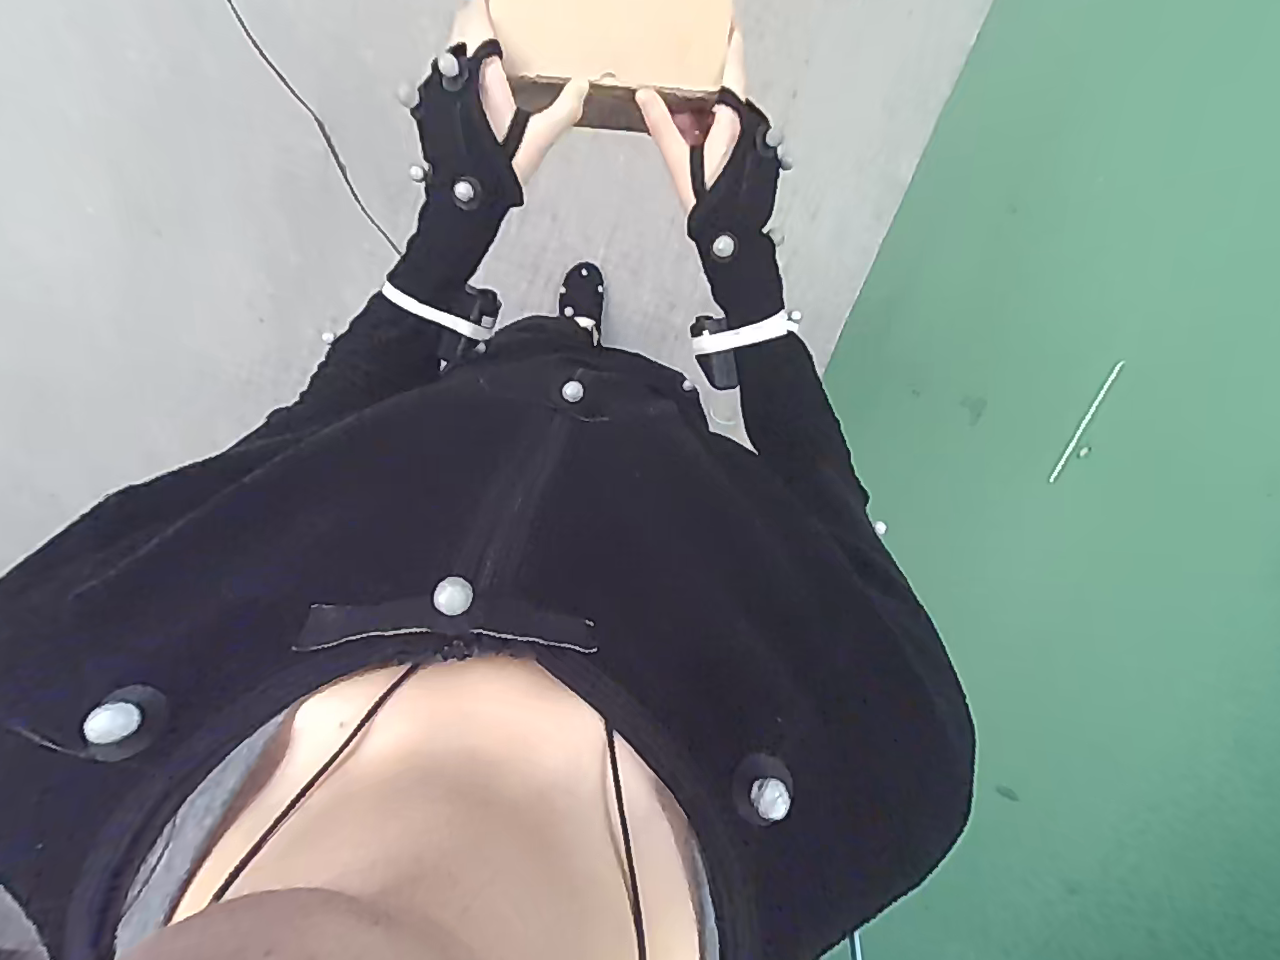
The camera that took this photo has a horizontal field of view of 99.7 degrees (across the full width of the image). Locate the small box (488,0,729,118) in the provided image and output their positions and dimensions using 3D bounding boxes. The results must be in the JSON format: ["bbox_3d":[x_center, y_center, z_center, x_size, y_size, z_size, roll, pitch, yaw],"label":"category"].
[{"bbox_3d":[-0.019,-0.402,0.418,0.168,0.176,0.179,3,113,-4],"label":"small box"}]

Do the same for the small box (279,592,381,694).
[{"bbox_3d":[-0.829,0.435,1.462,0.168,0.176,0.179,21,103,-10],"label":"small box"}]
